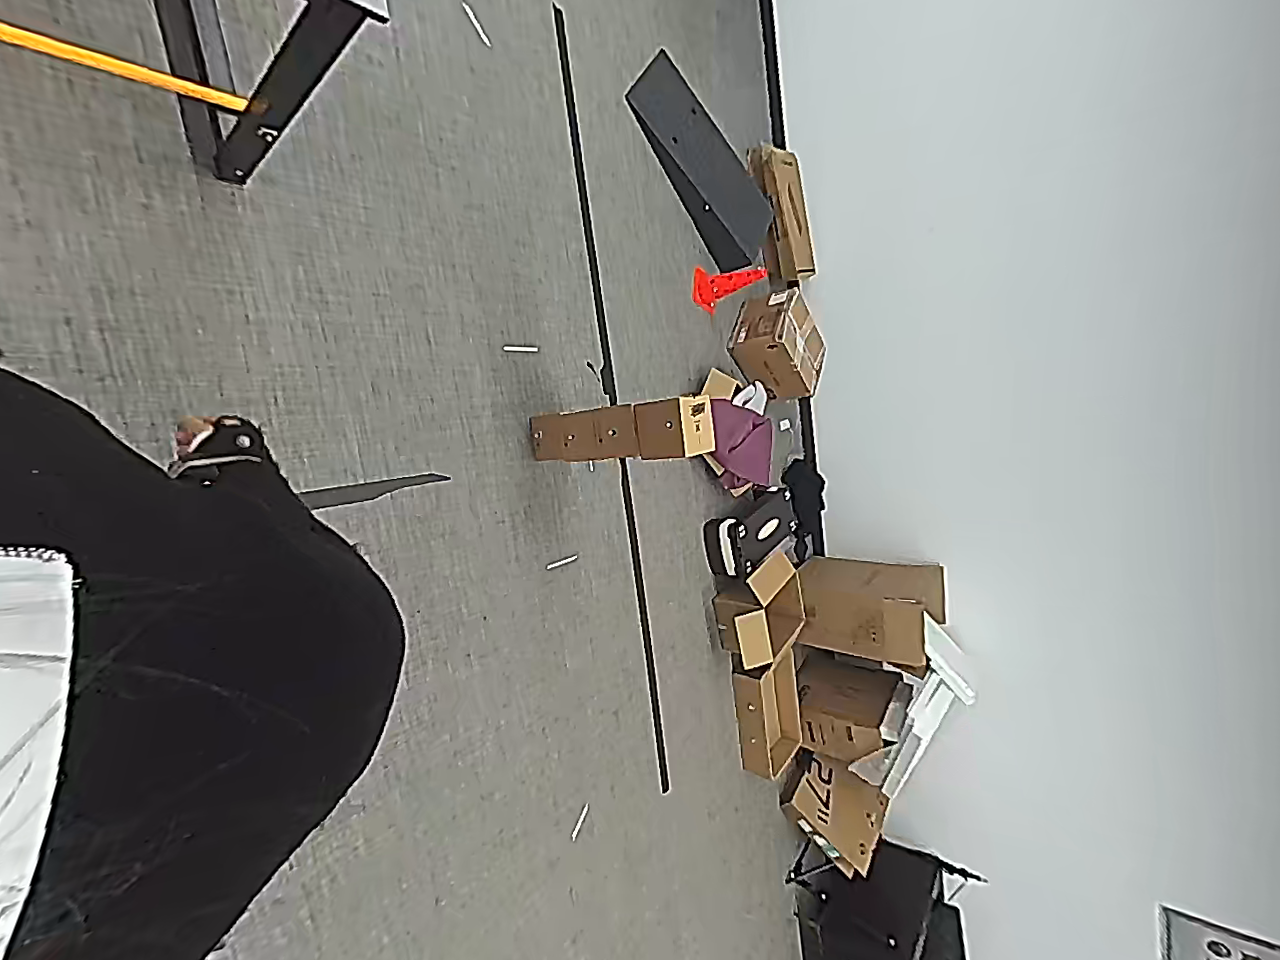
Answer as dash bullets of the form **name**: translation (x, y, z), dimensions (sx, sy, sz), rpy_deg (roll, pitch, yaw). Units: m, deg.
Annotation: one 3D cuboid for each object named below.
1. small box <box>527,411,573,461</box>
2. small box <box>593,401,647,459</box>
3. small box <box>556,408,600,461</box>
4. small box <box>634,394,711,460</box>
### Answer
- **small box**: translation (-0.284, -0.162, 1.967), dimensions (0.179, 0.176, 0.168), rpy_deg (-14, 99, -48)
- **small box**: translation (-0.037, -0.163, 1.750), dimensions (0.179, 0.176, 0.168), rpy_deg (-13, 98, -49)
- **small box**: translation (-0.162, -0.158, 1.856), dimensions (0.179, 0.176, 0.168), rpy_deg (-14, 98, -50)
- **small box**: translation (0.097, -0.161, 1.653), dimensions (0.168, 0.176, 0.179), rpy_deg (-15, 101, -50)
